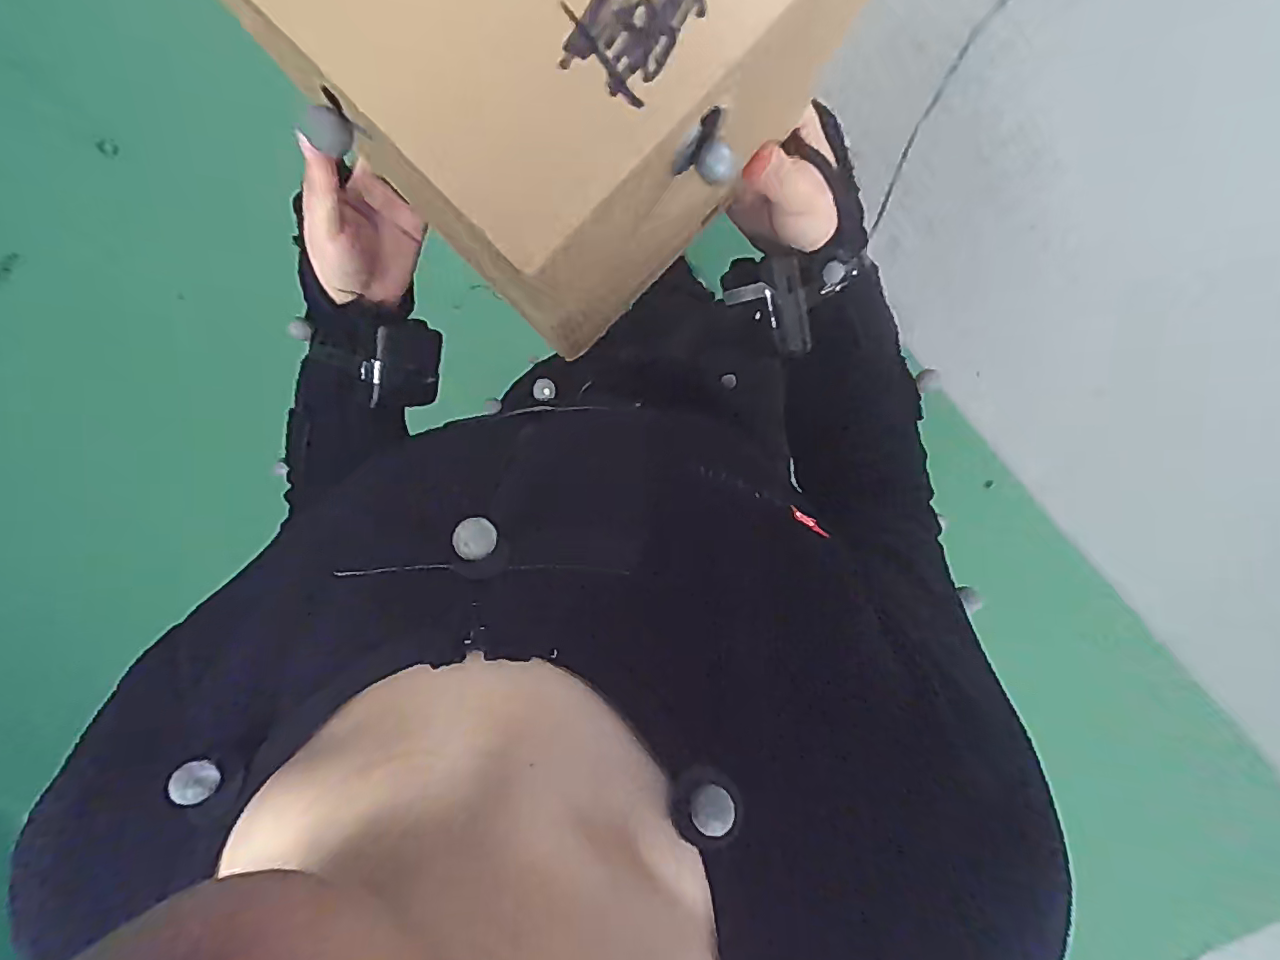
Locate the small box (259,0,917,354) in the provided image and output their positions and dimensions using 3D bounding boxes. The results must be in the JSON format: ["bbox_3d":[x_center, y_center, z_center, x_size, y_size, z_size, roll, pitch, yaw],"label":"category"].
[{"bbox_3d":[-0.024,-0.172,0.215,0.179,0.176,0.168,45,92,-6],"label":"small box"}]
